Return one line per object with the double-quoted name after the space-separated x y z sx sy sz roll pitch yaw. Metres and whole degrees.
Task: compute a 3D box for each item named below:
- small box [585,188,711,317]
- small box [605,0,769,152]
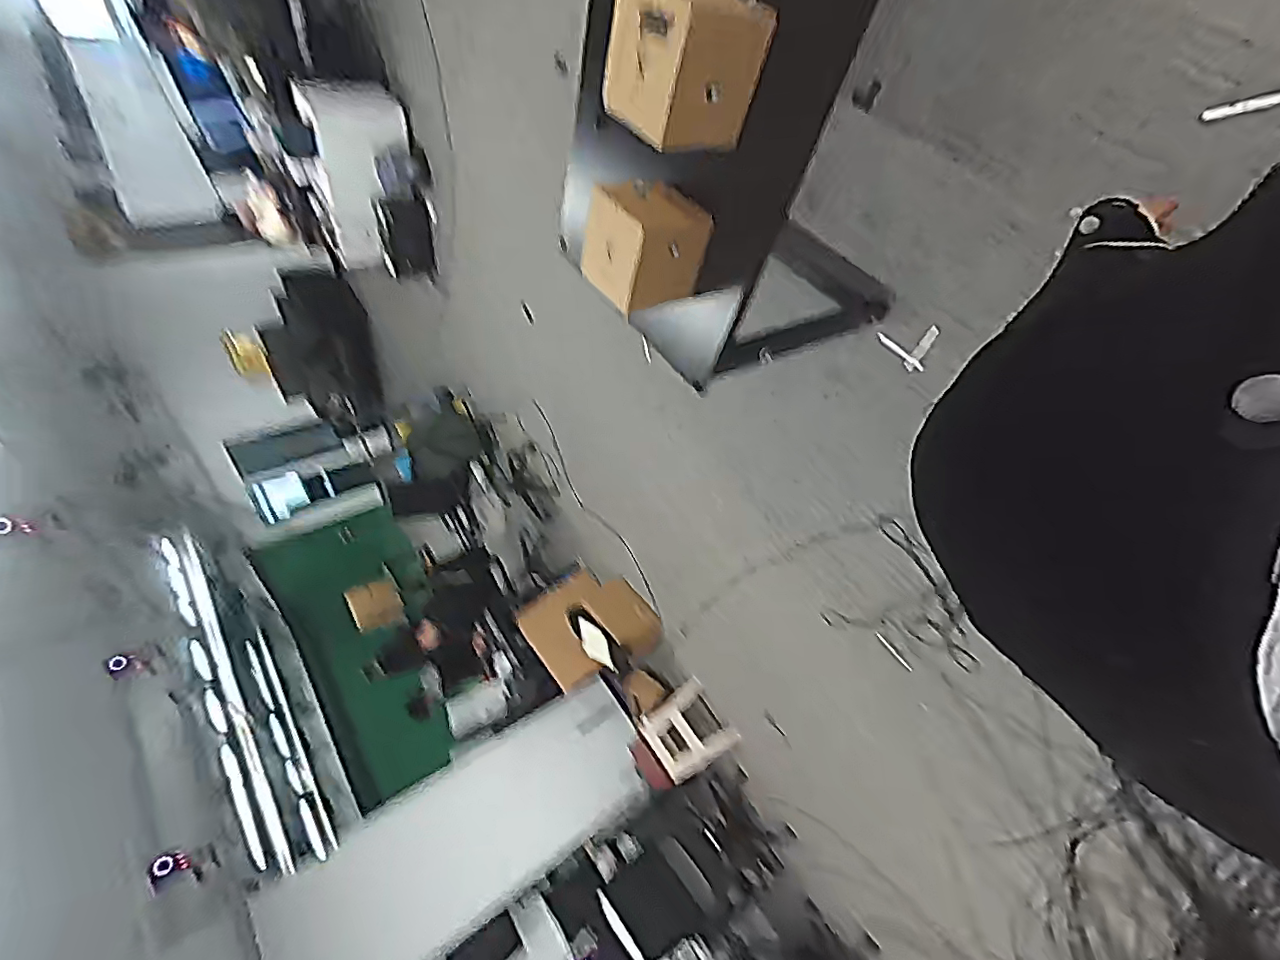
0.015 -0.450 1.055 0.168 0.176 0.179 50 146 28 "small box"
0.072 -0.642 0.839 0.168 0.176 0.179 51 147 25 "small box"
